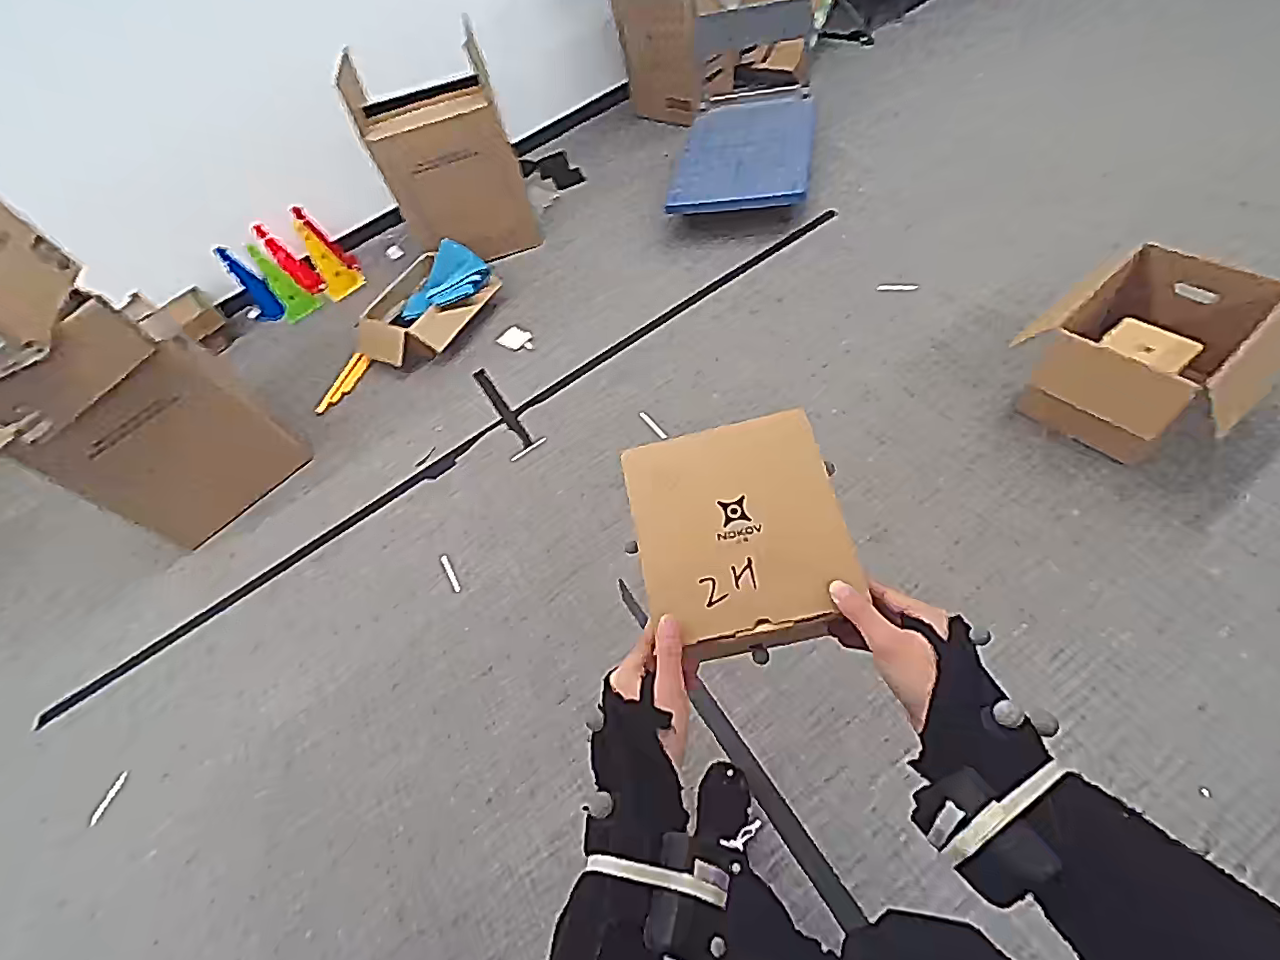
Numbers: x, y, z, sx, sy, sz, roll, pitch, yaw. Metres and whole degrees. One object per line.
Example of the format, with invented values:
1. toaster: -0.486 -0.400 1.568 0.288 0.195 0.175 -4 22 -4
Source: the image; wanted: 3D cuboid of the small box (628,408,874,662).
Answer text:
1. small box: 0.092 0.062 0.508 0.168 0.176 0.179 -13 65 5
